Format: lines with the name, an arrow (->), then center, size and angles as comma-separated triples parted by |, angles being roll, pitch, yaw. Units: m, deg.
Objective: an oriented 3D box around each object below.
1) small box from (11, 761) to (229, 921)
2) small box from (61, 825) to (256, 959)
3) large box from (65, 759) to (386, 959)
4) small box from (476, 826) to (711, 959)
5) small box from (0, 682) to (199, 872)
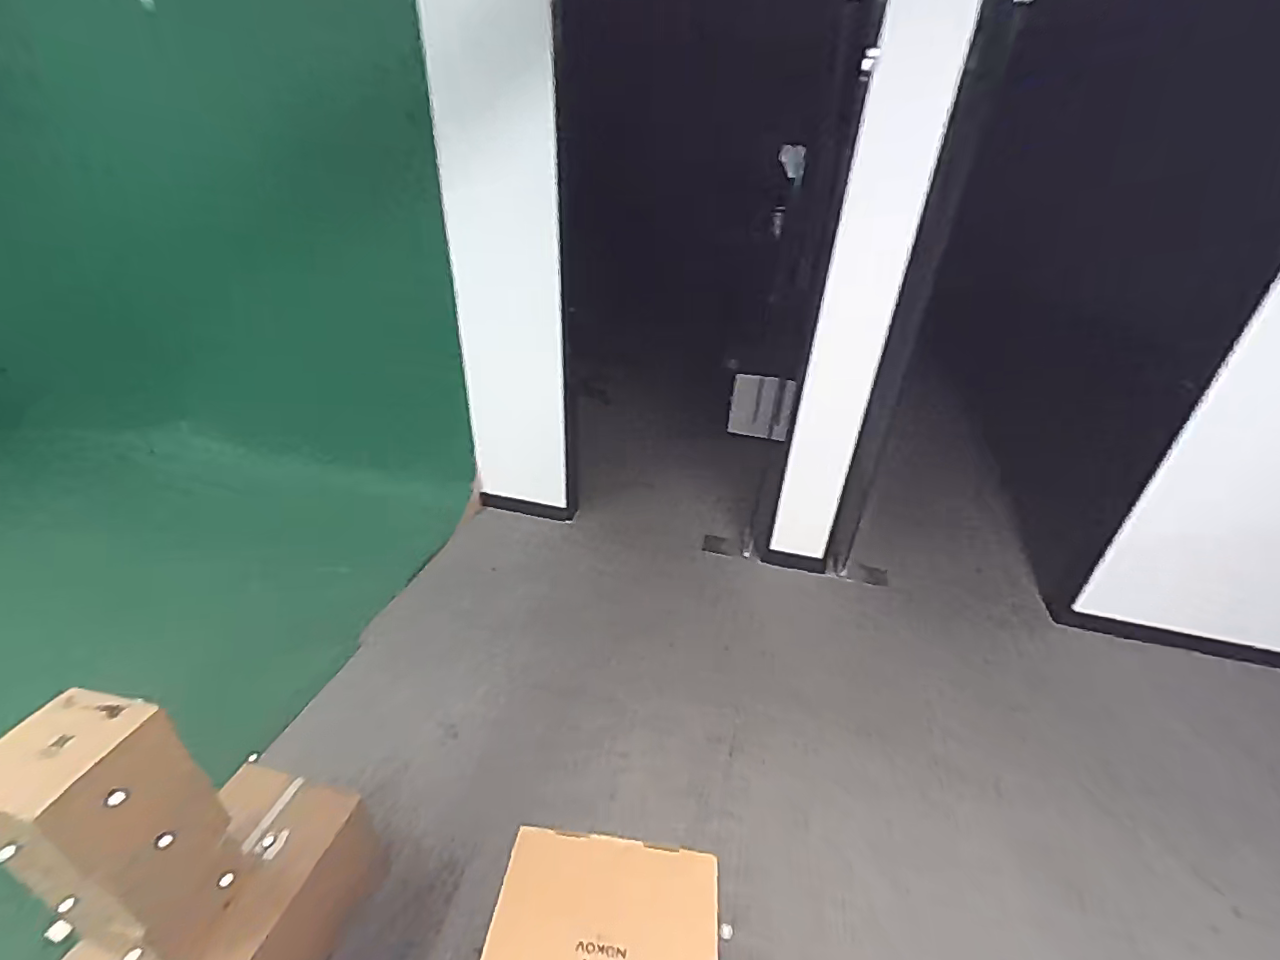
small box -> -0.833, 0.582, 0.893 | 0.168, 0.176, 0.179 | 8, 30, 6
small box -> -0.844, 0.725, 0.971 | 0.179, 0.176, 0.168 | 9, 31, 10
large box -> -0.823, 0.903, 1.151 | 0.320, 0.320, 0.408 | 10, 31, 11
small box -> -0.036, 0.408, 0.410 | 0.168, 0.176, 0.179 | 5, 29, 4
small box -> -0.823, 0.441, 0.808 | 0.168, 0.176, 0.179 | 9, 31, 8
